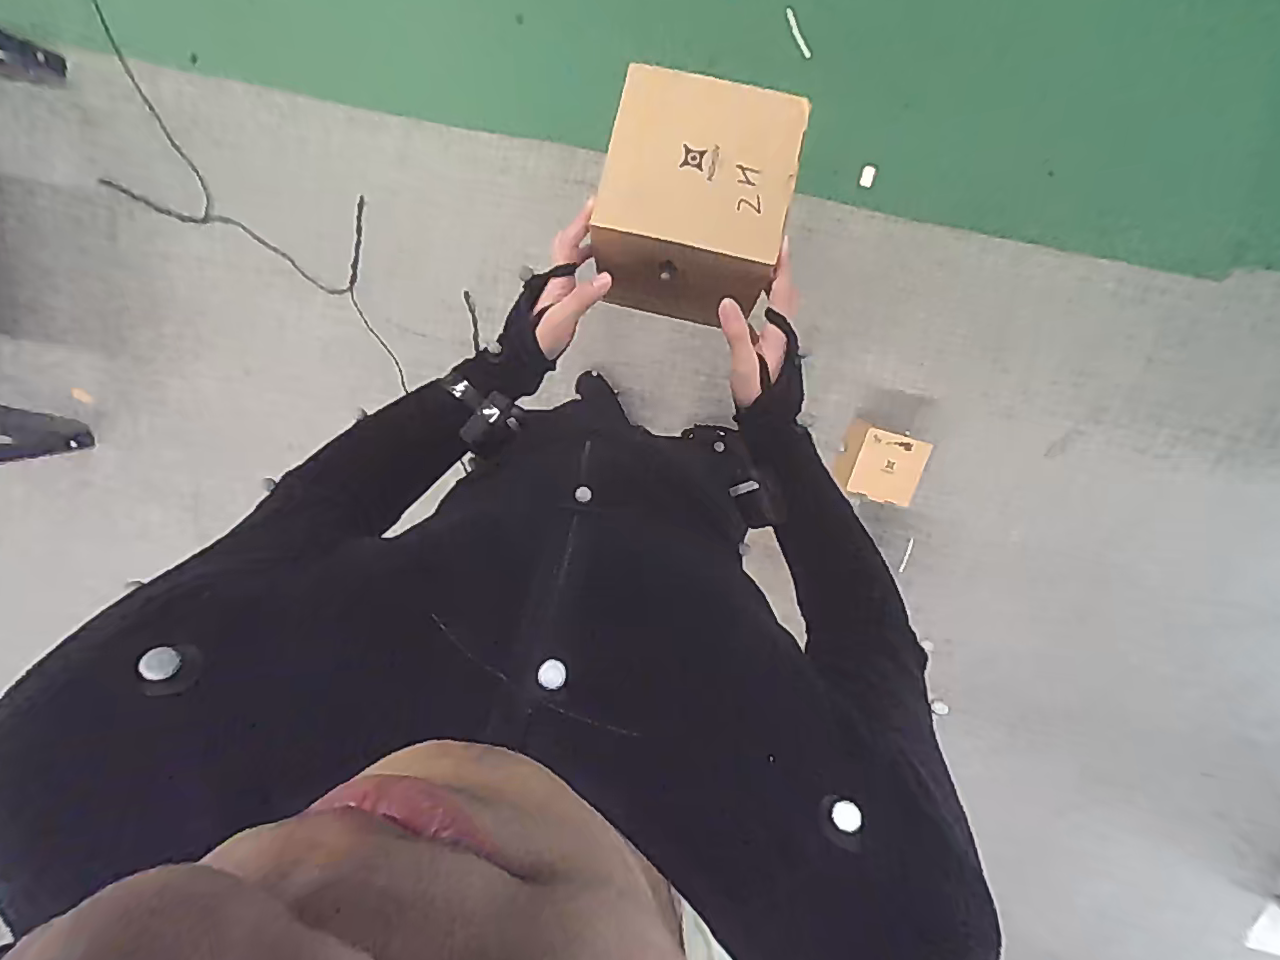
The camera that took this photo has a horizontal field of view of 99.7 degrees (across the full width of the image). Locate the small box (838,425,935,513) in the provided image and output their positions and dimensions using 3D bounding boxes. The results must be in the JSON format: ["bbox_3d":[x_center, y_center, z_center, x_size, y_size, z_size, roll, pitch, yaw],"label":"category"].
[{"bbox_3d":[0.649,-0.036,1.451,0.168,0.176,0.179,17,105,3],"label":"small box"}]
